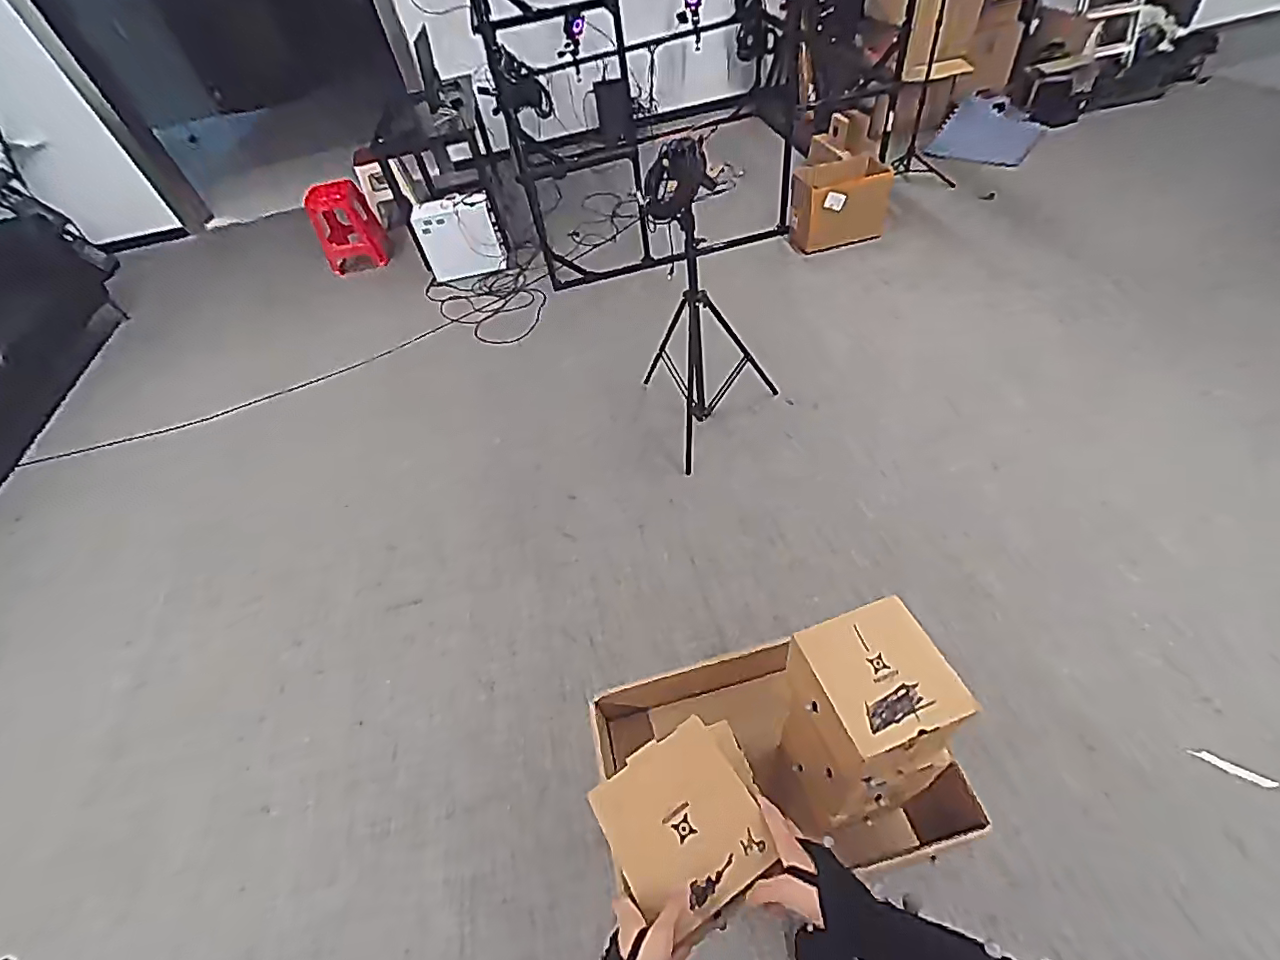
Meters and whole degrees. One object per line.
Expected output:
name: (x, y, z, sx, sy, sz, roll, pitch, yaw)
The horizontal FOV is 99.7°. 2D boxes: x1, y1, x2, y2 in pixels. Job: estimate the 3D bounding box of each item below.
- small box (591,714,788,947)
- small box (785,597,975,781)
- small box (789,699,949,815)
small box: (0.065, 0.436, 0.674, 0.168, 0.176, 0.179, -32, 49, -10)
small box: (0.321, 0.302, 0.766, 0.168, 0.176, 0.179, -19, 49, -6)
small box: (0.355, 0.414, 0.881, 0.168, 0.176, 0.179, -17, 49, -4)
